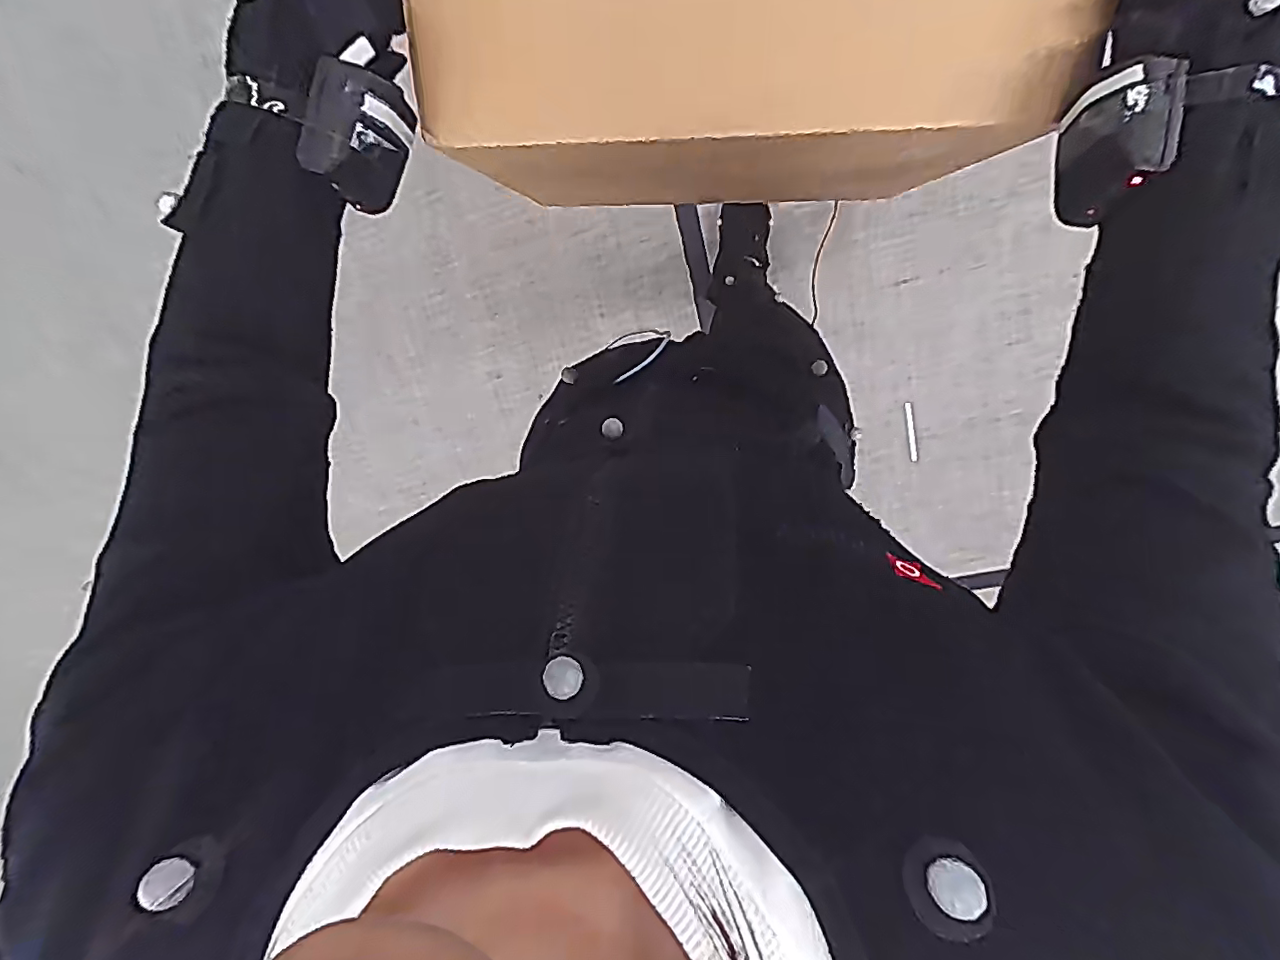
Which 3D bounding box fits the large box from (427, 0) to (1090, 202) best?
[{"bbox_3d":[0.069,-0.424,0.433,0.408,0.320,0.320,-1,111,3],"label":"large box"}]
